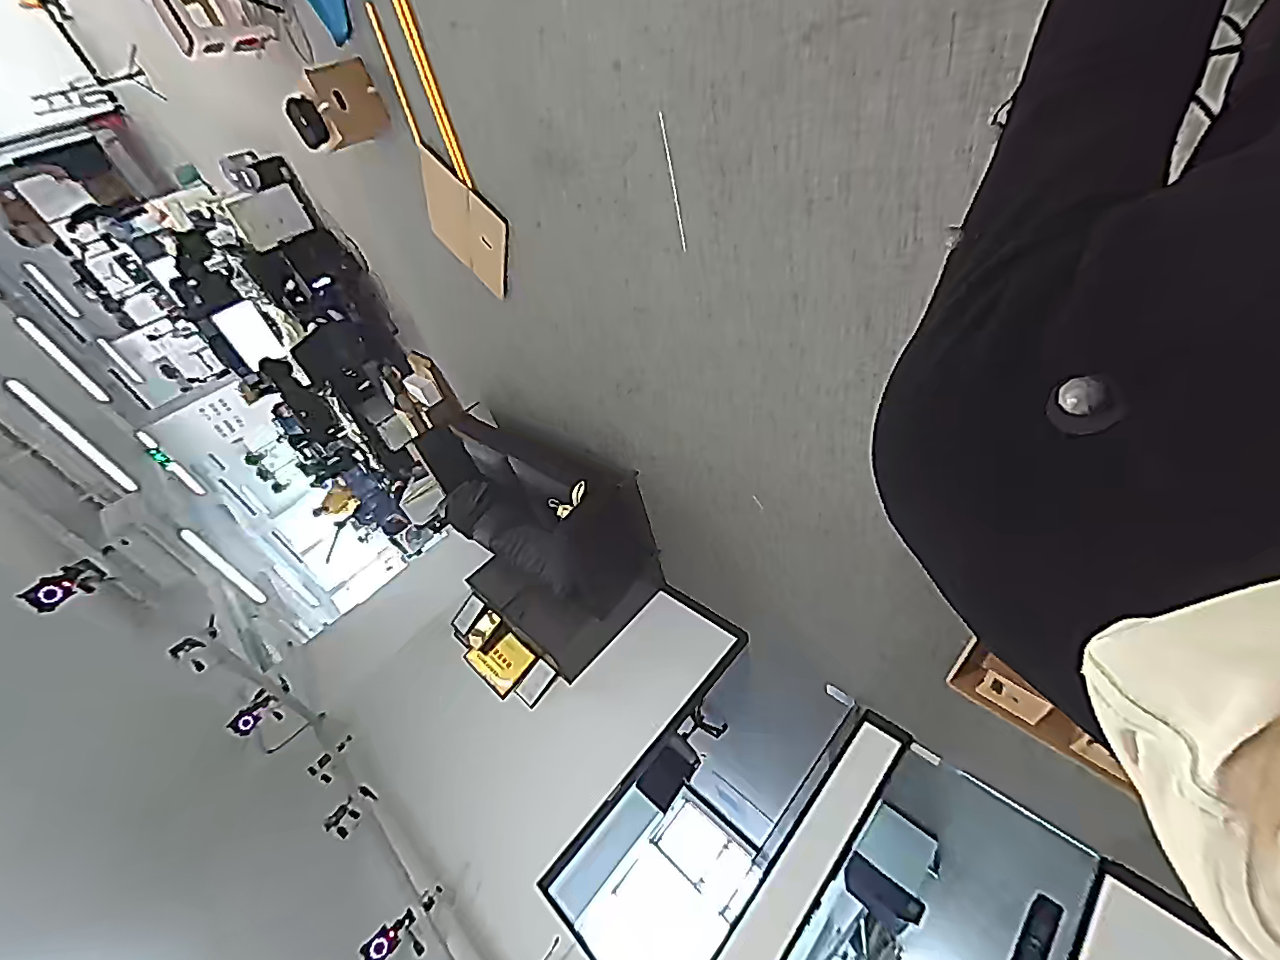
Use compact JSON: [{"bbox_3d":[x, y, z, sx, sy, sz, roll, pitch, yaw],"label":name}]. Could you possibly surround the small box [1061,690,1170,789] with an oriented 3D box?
[{"bbox_3d":[1.381,0.749,1.570,0.179,0.176,0.168,29,148,32],"label":"small box"}]
